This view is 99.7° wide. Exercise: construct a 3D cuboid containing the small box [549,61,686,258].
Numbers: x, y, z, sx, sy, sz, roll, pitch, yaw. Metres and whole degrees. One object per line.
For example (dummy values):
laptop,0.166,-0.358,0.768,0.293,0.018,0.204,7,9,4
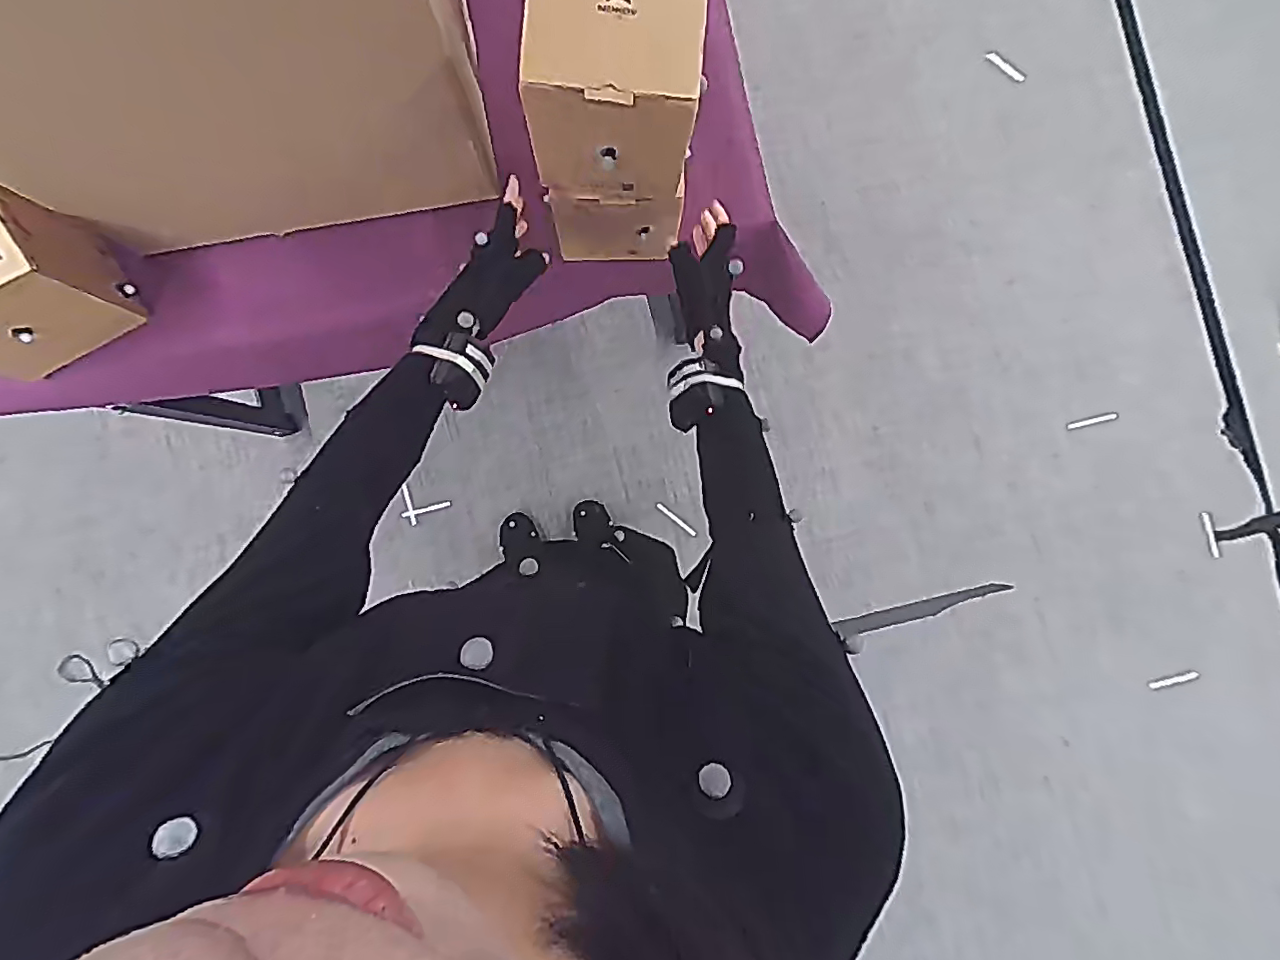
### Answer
small box,-0.031,-0.418,0.732,0.168,0.176,0.179,-2,87,-4
